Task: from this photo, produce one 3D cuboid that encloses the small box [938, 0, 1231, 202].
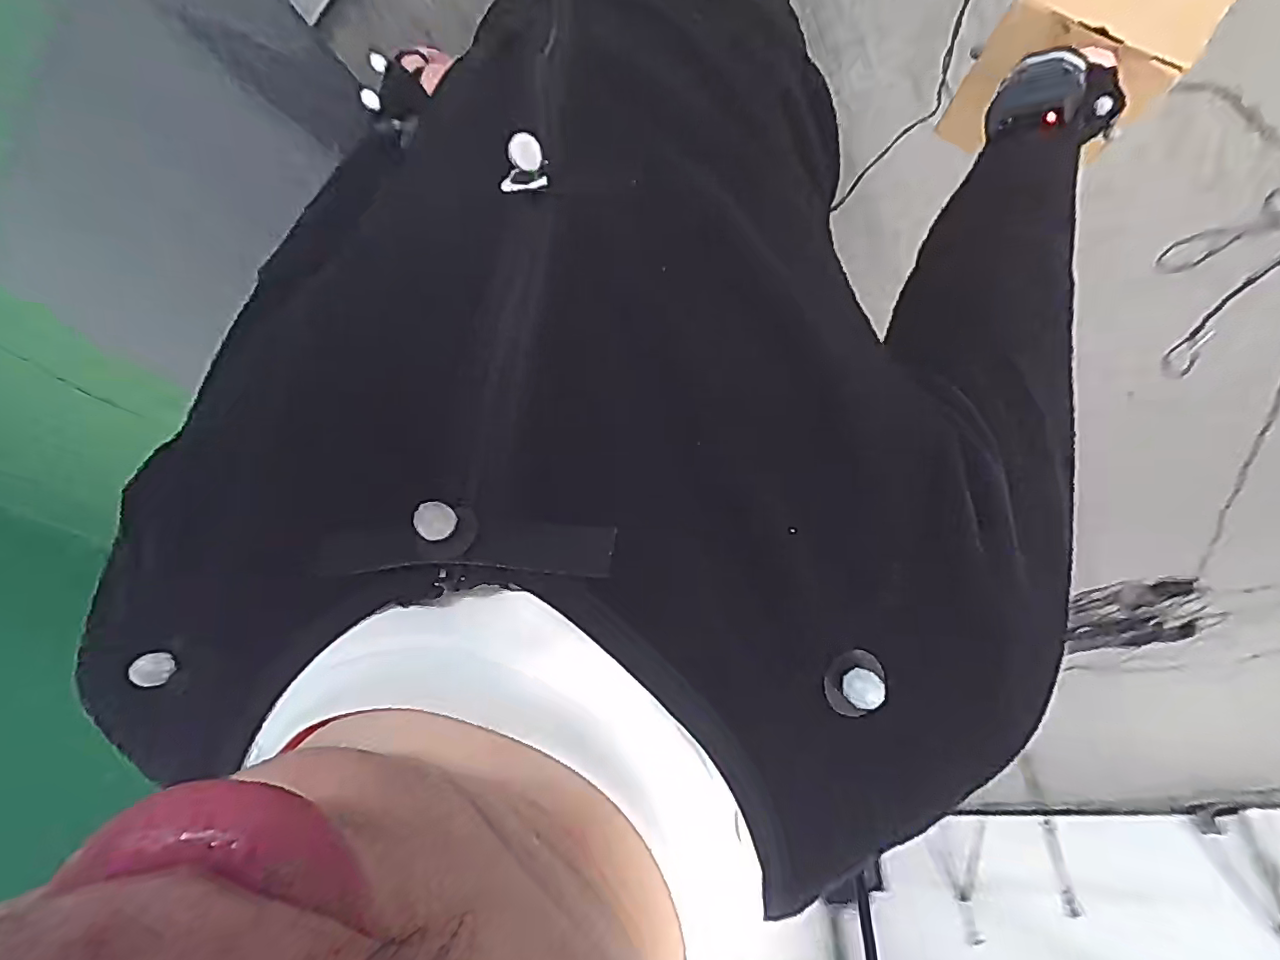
[{"bbox_3d":[0.466,-0.452,0.590,0.168,0.179,0.176,37,171,7],"label":"small box"}]
